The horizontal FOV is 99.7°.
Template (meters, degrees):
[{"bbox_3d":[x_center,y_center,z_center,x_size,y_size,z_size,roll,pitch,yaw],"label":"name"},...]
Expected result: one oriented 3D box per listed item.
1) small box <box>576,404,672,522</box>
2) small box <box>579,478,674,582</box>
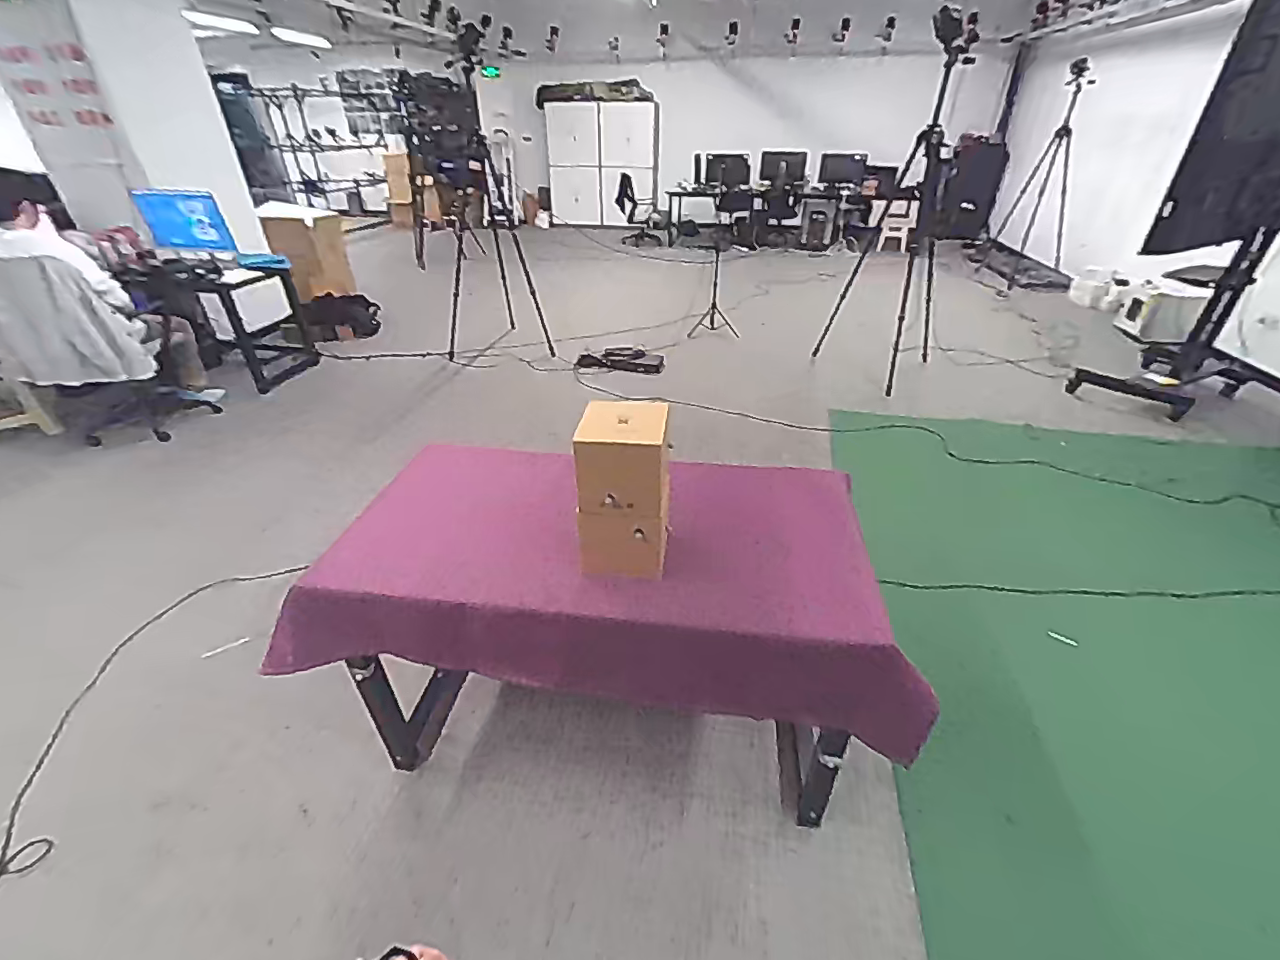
[{"bbox_3d":[-0.025,-0.037,1.082,0.168,0.176,0.179,3,34,7],"label":"small box"},{"bbox_3d":[-0.023,0.102,1.168,0.179,0.176,0.168,4,33,7],"label":"small box"}]
